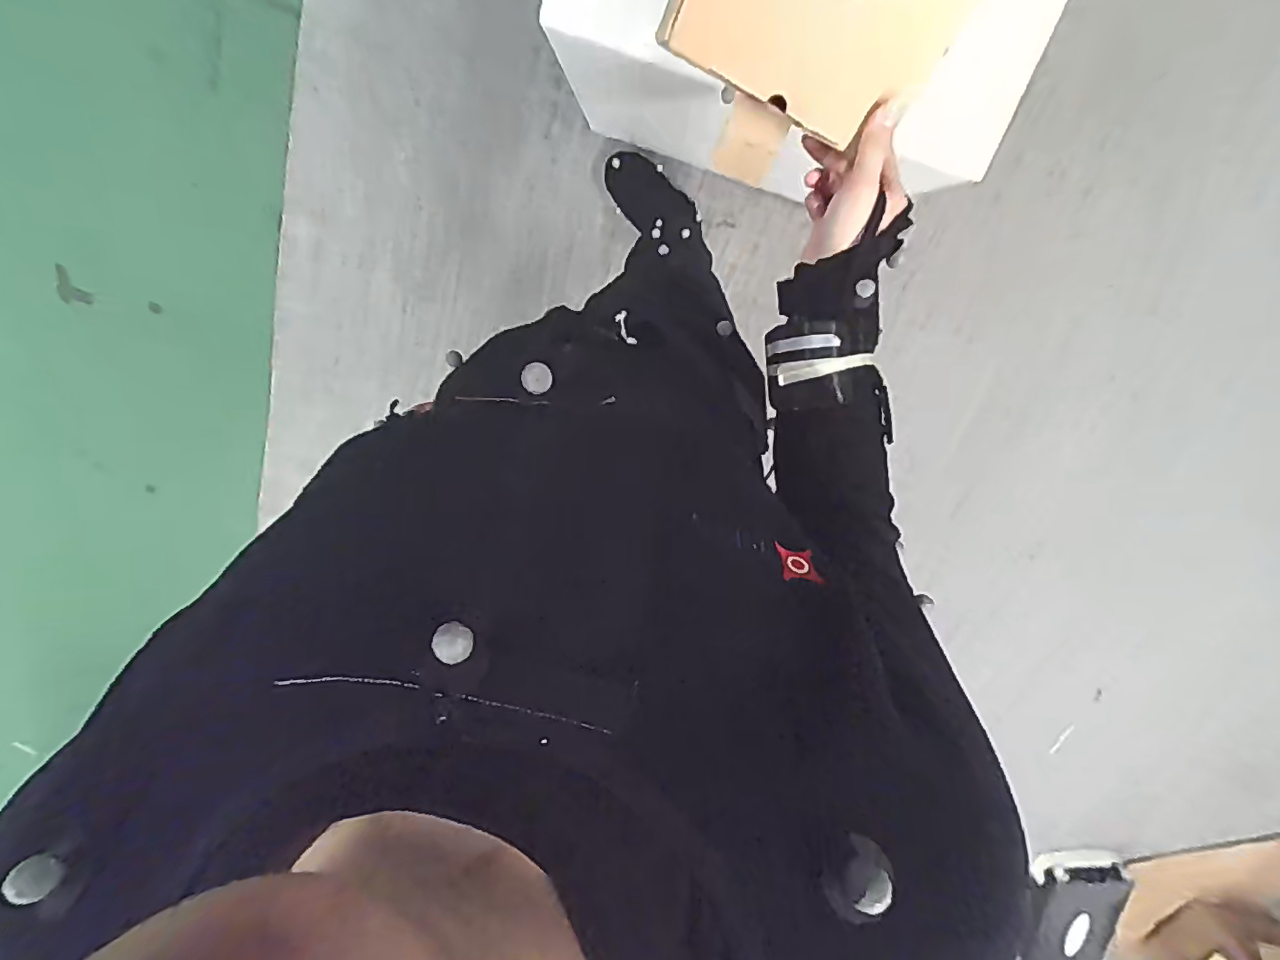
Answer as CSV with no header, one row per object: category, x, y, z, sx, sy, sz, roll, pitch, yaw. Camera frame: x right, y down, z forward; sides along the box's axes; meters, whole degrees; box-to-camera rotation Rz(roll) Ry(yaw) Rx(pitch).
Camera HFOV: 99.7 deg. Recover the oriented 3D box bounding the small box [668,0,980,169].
small box,0.126,-0.360,0.377,0.168,0.176,0.179,19,128,-16
